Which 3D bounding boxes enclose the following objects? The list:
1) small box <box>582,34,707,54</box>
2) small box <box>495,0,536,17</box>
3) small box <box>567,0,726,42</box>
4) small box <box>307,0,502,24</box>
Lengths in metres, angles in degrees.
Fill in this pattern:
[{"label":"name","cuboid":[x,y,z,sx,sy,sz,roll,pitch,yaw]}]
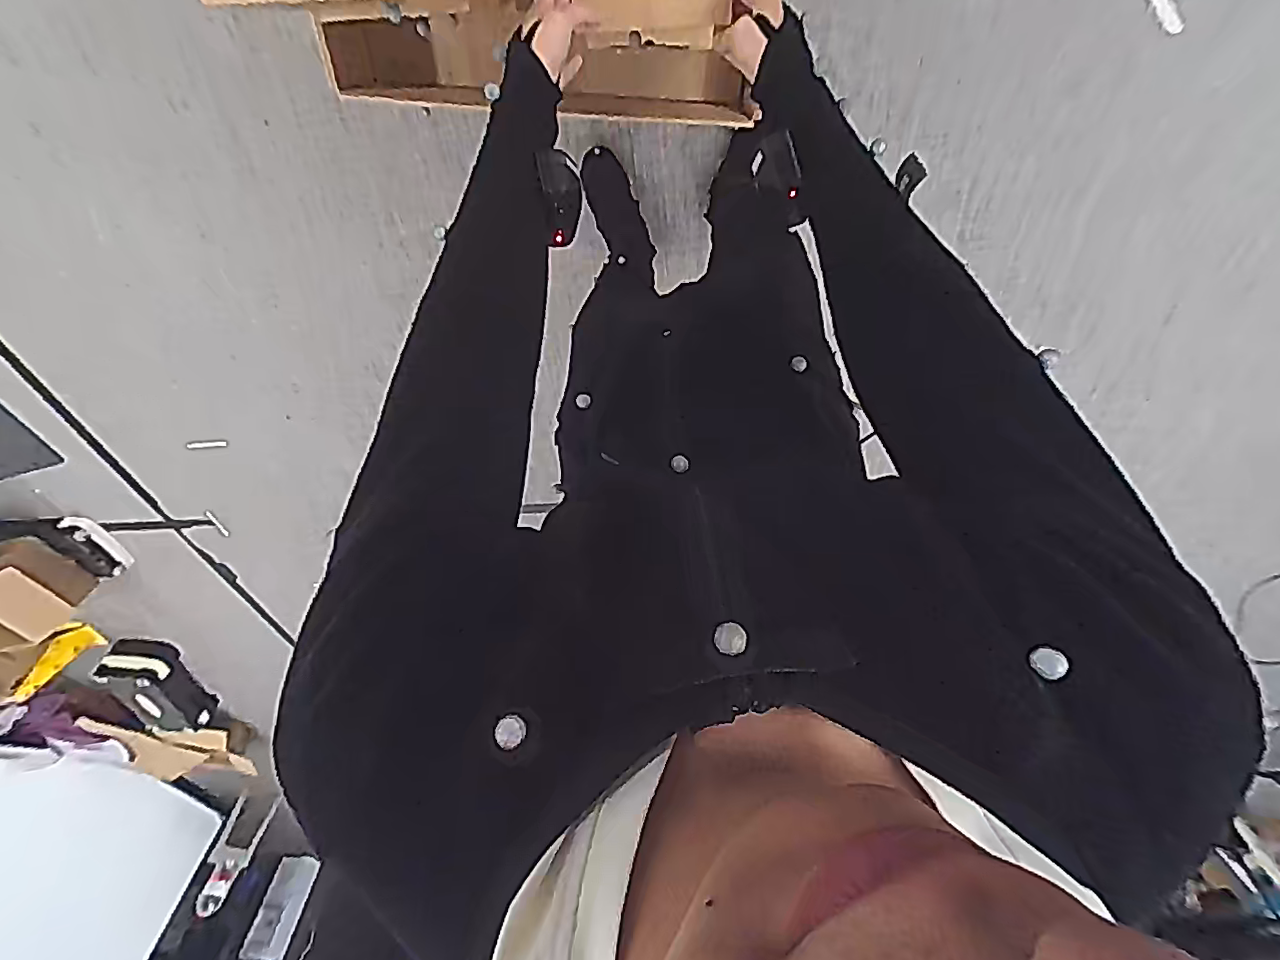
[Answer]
[{"label":"small box","cuboid":[0.011,-0.673,0.705,0.168,0.176,0.179,2,130,2]},{"label":"small box","cuboid":[-0.242,-0.703,0.692,0.179,0.176,0.168,1,131,1]},{"label":"small box","cuboid":[0.009,-0.580,0.569,0.168,0.176,0.179,-1,129,4]},{"label":"small box","cuboid":[-0.258,-0.597,0.566,0.168,0.176,0.179,1,130,5]}]
